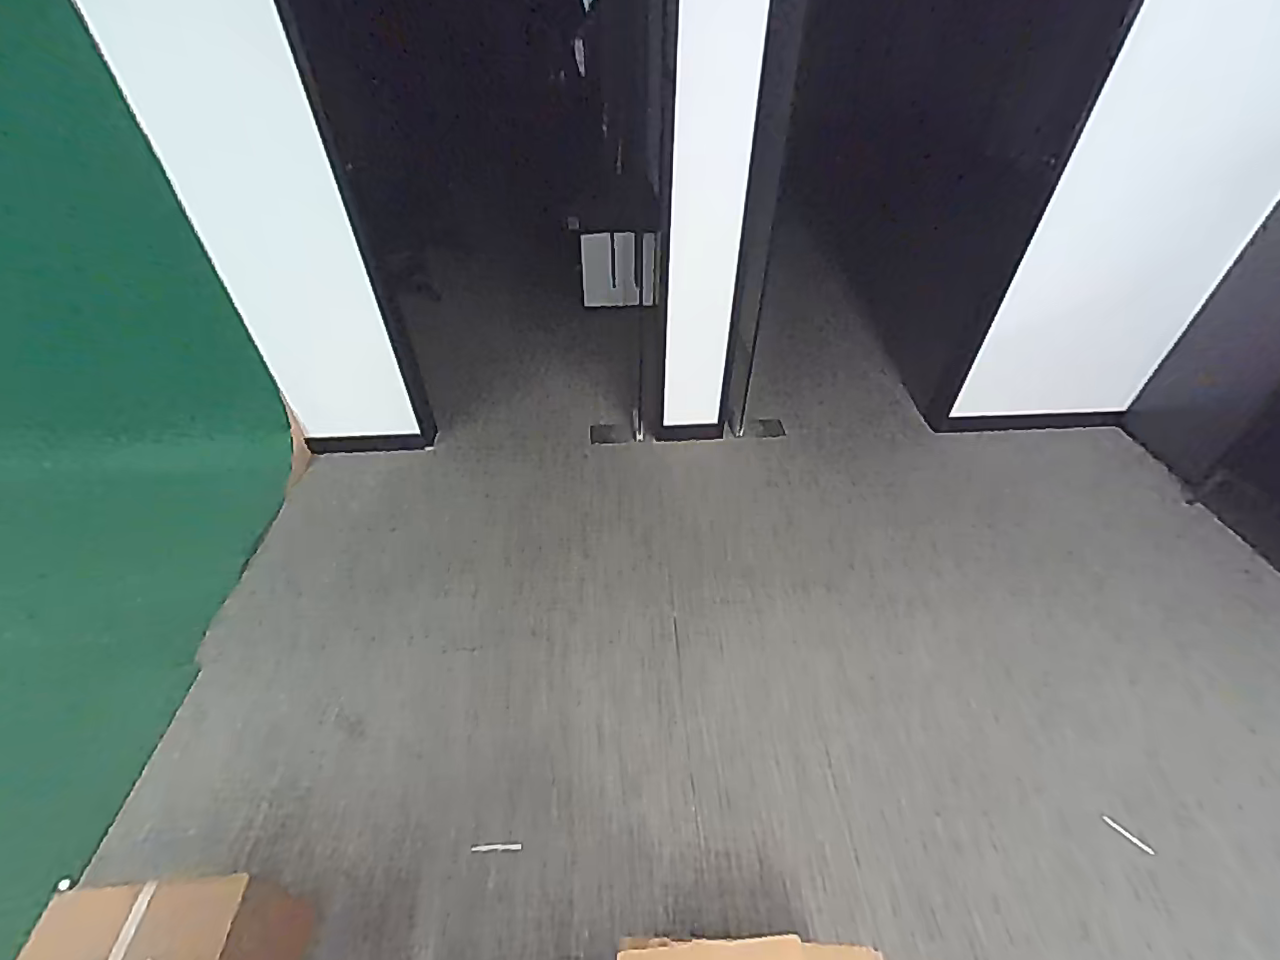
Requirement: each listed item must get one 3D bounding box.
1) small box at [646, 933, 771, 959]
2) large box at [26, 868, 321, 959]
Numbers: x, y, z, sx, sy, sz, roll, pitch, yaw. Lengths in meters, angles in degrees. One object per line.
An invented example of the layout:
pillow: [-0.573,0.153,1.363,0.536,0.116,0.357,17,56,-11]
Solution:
small box: [0.088,0.726,0.709,0.168,0.176,0.179,2,40,1]
large box: [-0.788,0.914,0.864,0.320,0.320,0.408,-3,41,-3]
